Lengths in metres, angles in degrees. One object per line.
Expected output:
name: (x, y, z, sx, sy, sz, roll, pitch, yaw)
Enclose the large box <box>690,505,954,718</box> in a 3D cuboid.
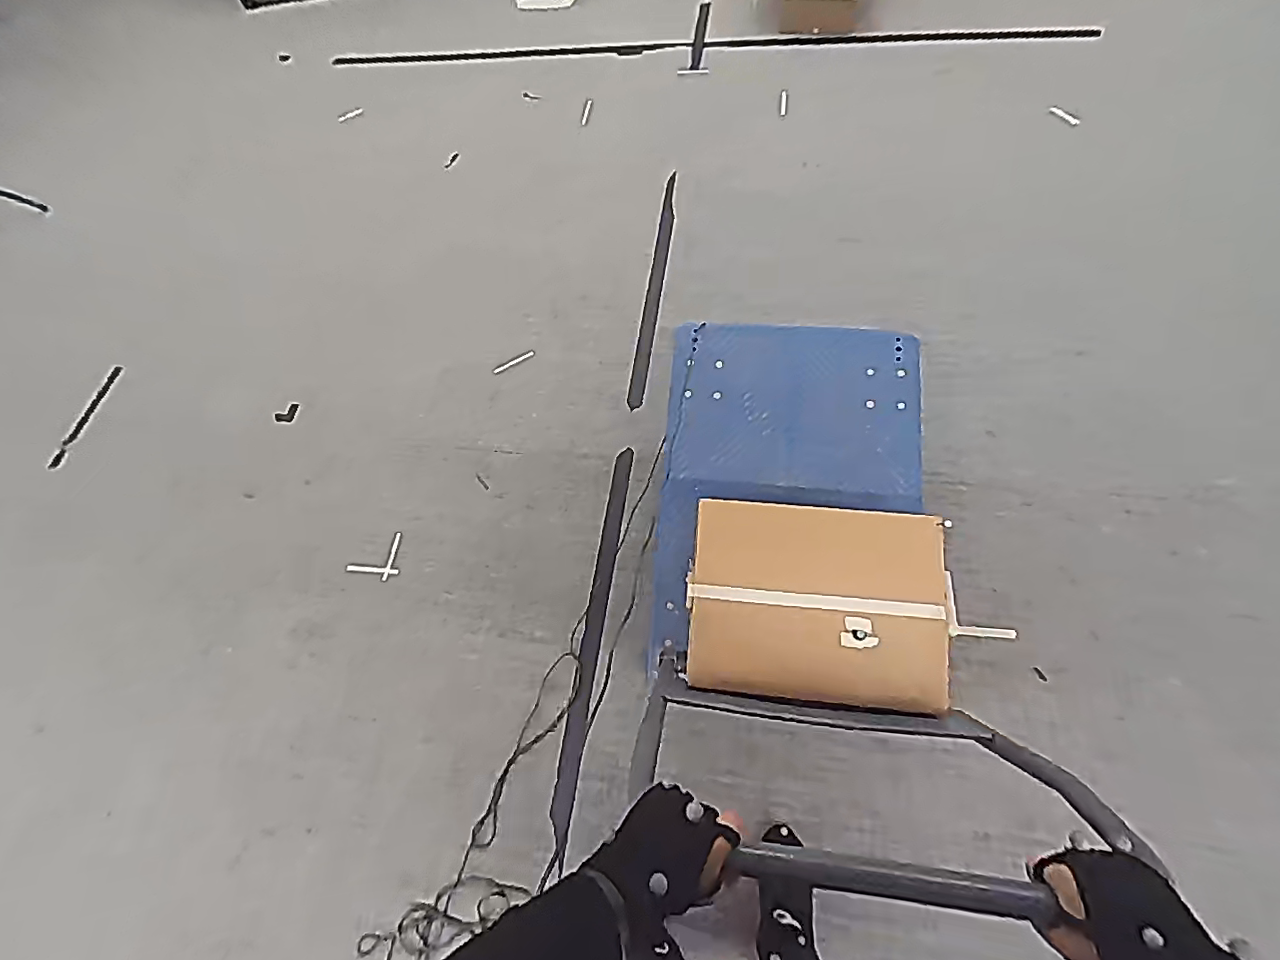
large box: (0.300, 0.236, 1.012, 0.408, 0.320, 0.320, 4, 78, 6)
